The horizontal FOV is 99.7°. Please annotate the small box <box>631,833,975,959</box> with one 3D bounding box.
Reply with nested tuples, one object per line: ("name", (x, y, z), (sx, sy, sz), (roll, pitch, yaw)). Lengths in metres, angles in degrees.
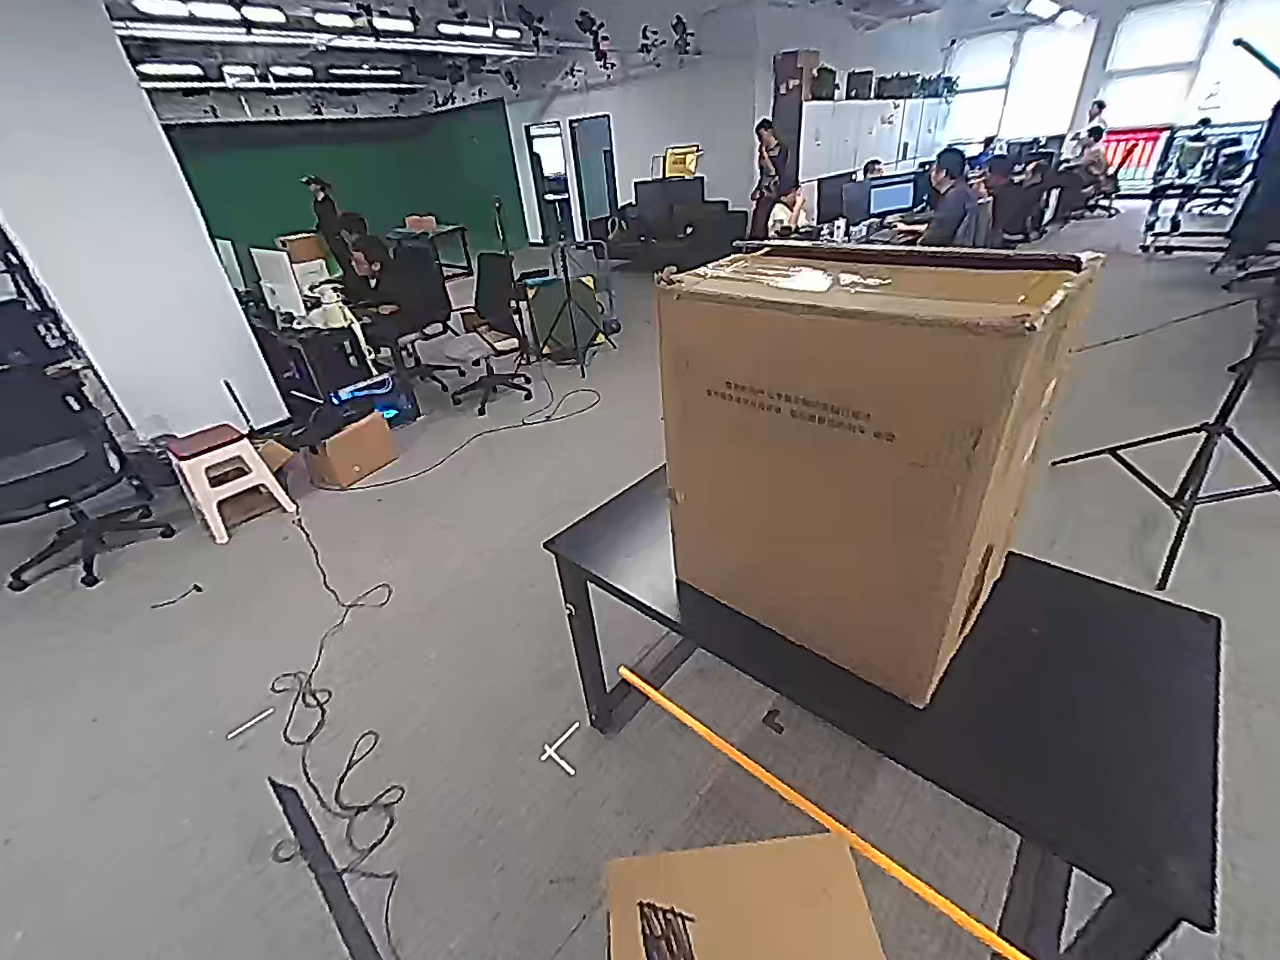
("small box", (0.093, 0.331, 0.307), (0.179, 0.176, 0.168), (-6, 40, -1))
